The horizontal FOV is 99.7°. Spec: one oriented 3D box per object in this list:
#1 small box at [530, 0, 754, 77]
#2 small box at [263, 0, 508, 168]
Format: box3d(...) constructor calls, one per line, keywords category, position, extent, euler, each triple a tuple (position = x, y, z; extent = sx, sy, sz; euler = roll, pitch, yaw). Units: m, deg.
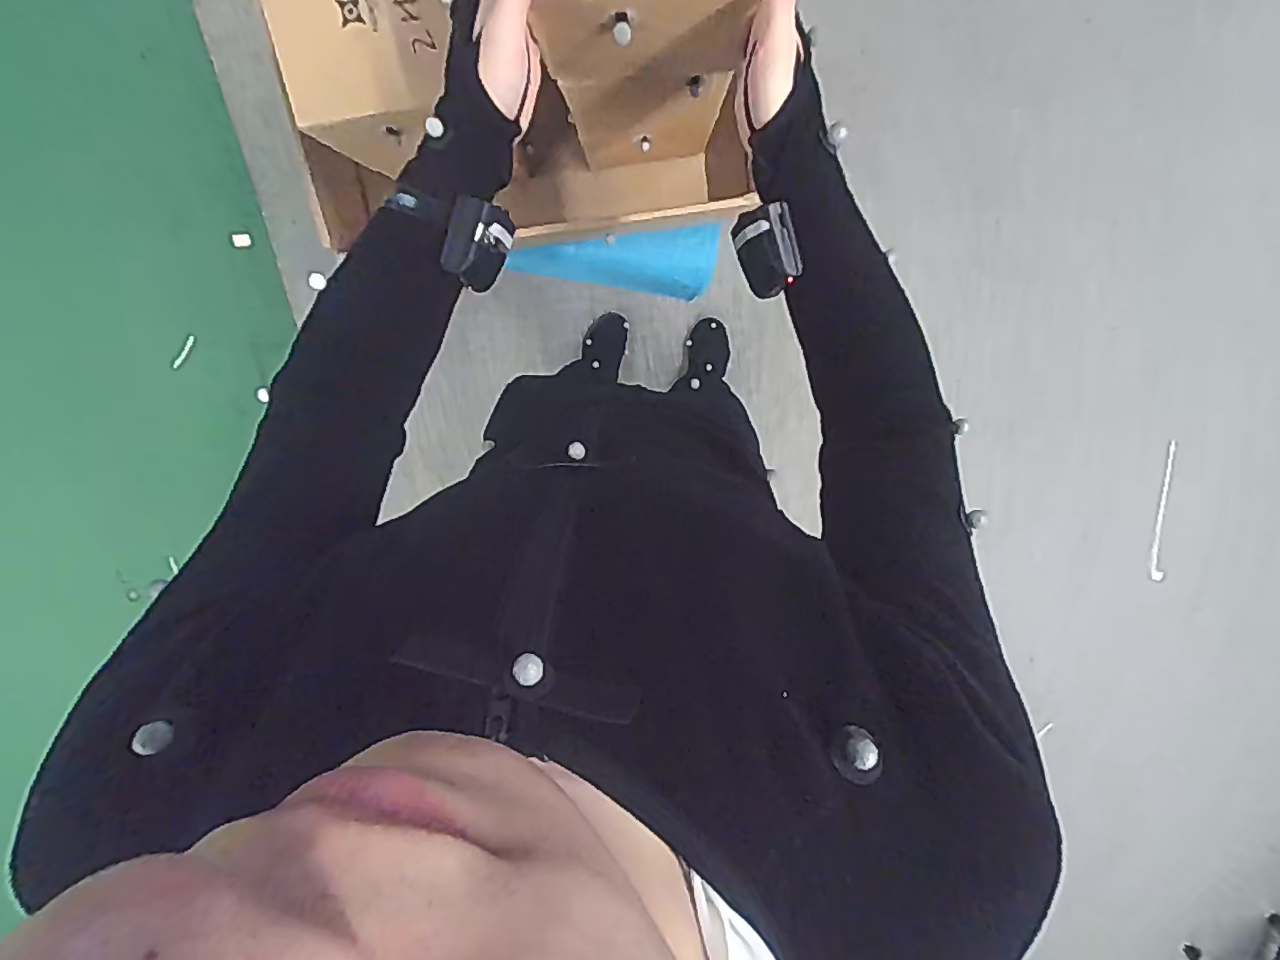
box3d(category="small box", position=(0.000, -0.427, 0.400), extent=(0.179, 0.176, 0.168), euler=(-1, 107, 3))
box3d(category="small box", position=(-0.255, -0.448, 0.570), extent=(0.179, 0.176, 0.168), euler=(-8, 108, 1))
